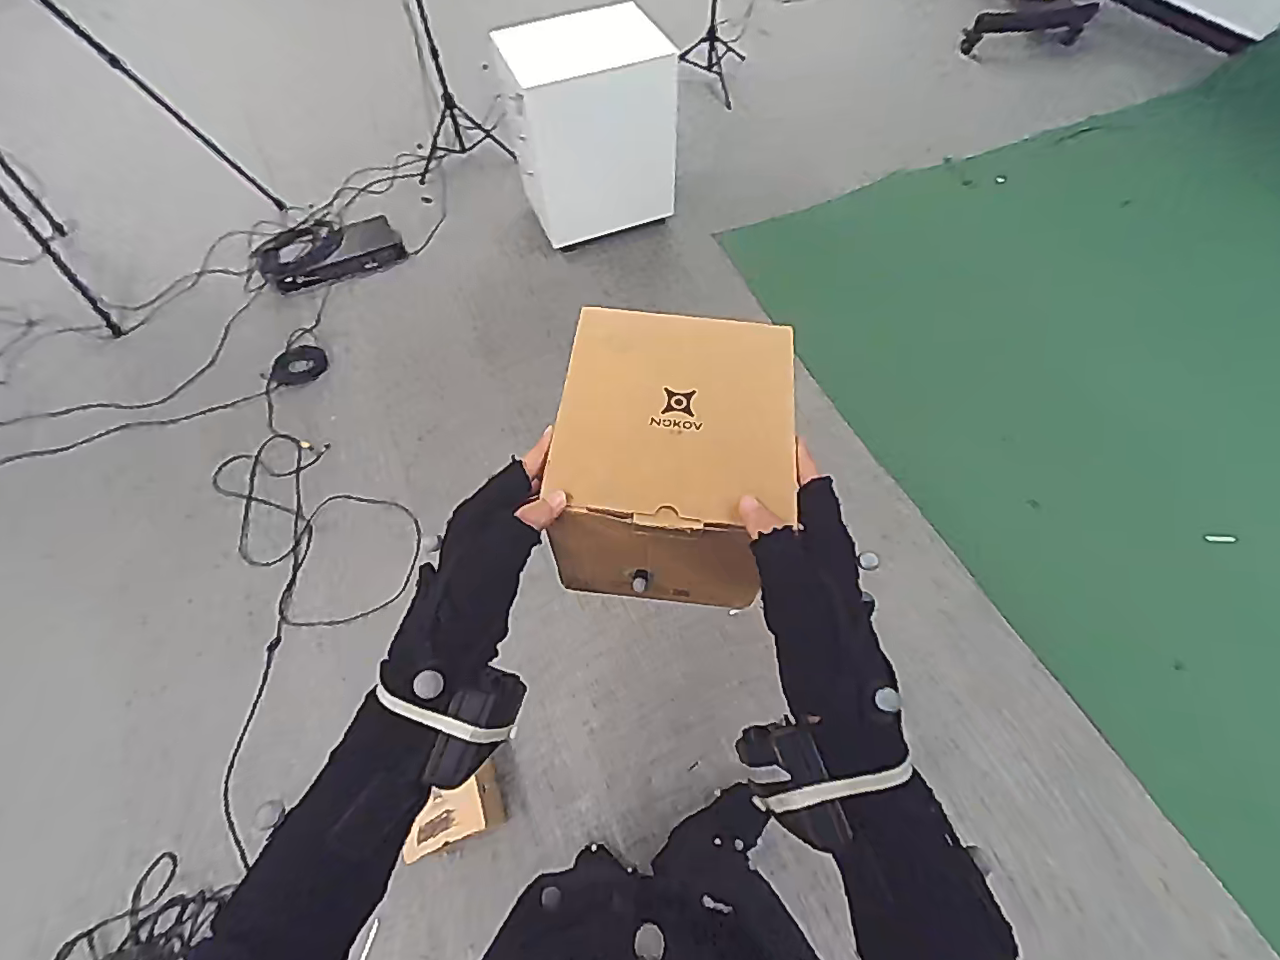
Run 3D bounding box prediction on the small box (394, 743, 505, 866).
[{"bbox_3d":[-0.406,0.696,1.174,0.168,0.176,0.179,-20,62,-10],"label":"small box"}]
